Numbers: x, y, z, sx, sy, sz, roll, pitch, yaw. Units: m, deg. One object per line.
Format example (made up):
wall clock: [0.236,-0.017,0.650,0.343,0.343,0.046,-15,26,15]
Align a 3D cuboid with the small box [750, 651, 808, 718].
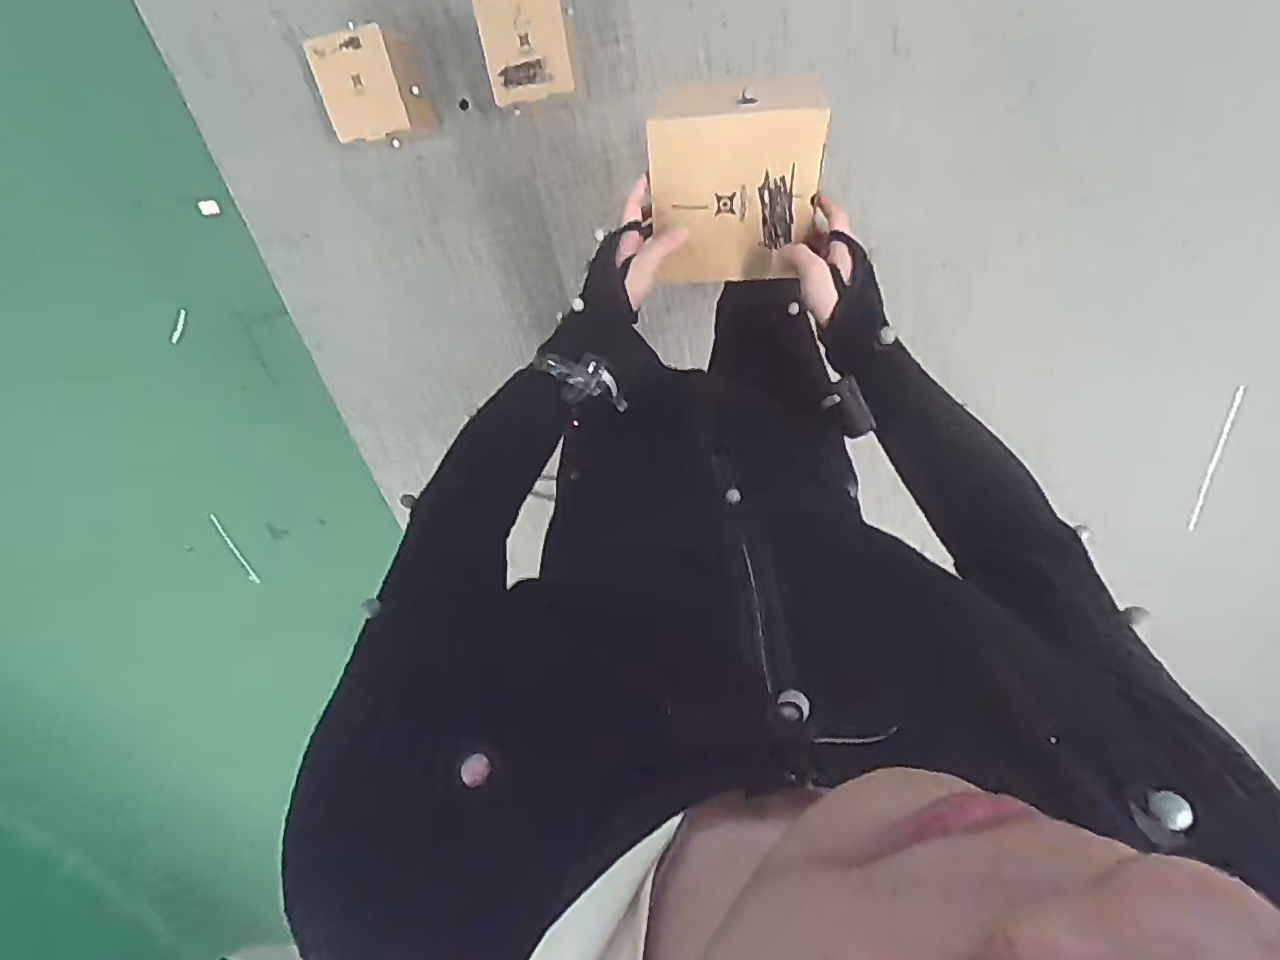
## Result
small box: [0.515,0.756,2.014,0.179,0.176,0.168,-9,120,10]

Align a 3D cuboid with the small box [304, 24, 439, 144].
small box: [-0.554,-0.830,1.148,0.168,0.176,0.179,-6,120,8]

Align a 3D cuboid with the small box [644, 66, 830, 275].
small box: [0.104,-0.351,0.614,0.179,0.176,0.168,1,135,9]
